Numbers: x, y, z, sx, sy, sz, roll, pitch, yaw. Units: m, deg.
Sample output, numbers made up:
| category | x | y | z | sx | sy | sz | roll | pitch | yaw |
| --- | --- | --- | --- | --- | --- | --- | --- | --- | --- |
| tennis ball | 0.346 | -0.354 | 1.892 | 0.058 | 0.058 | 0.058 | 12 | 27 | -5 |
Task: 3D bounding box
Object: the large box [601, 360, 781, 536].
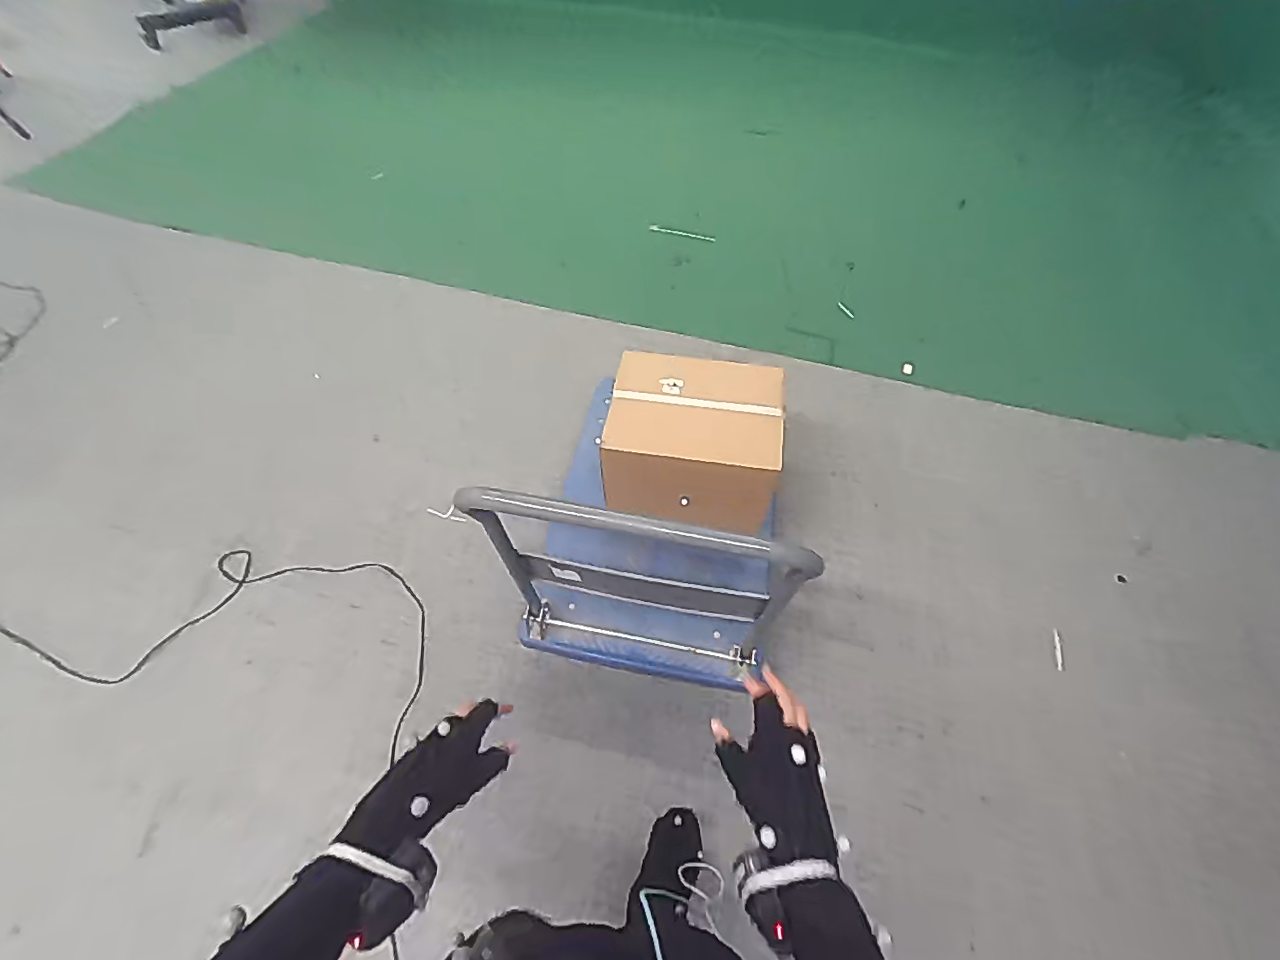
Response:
| category | x | y | z | sx | sy | sz | roll | pitch | yaw |
| --- | --- | --- | --- | --- | --- | --- | --- | --- | --- |
| large box | 0.136 | -0.076 | 1.395 | 0.408 | 0.320 | 0.320 | 7 | 56 | 7 |
